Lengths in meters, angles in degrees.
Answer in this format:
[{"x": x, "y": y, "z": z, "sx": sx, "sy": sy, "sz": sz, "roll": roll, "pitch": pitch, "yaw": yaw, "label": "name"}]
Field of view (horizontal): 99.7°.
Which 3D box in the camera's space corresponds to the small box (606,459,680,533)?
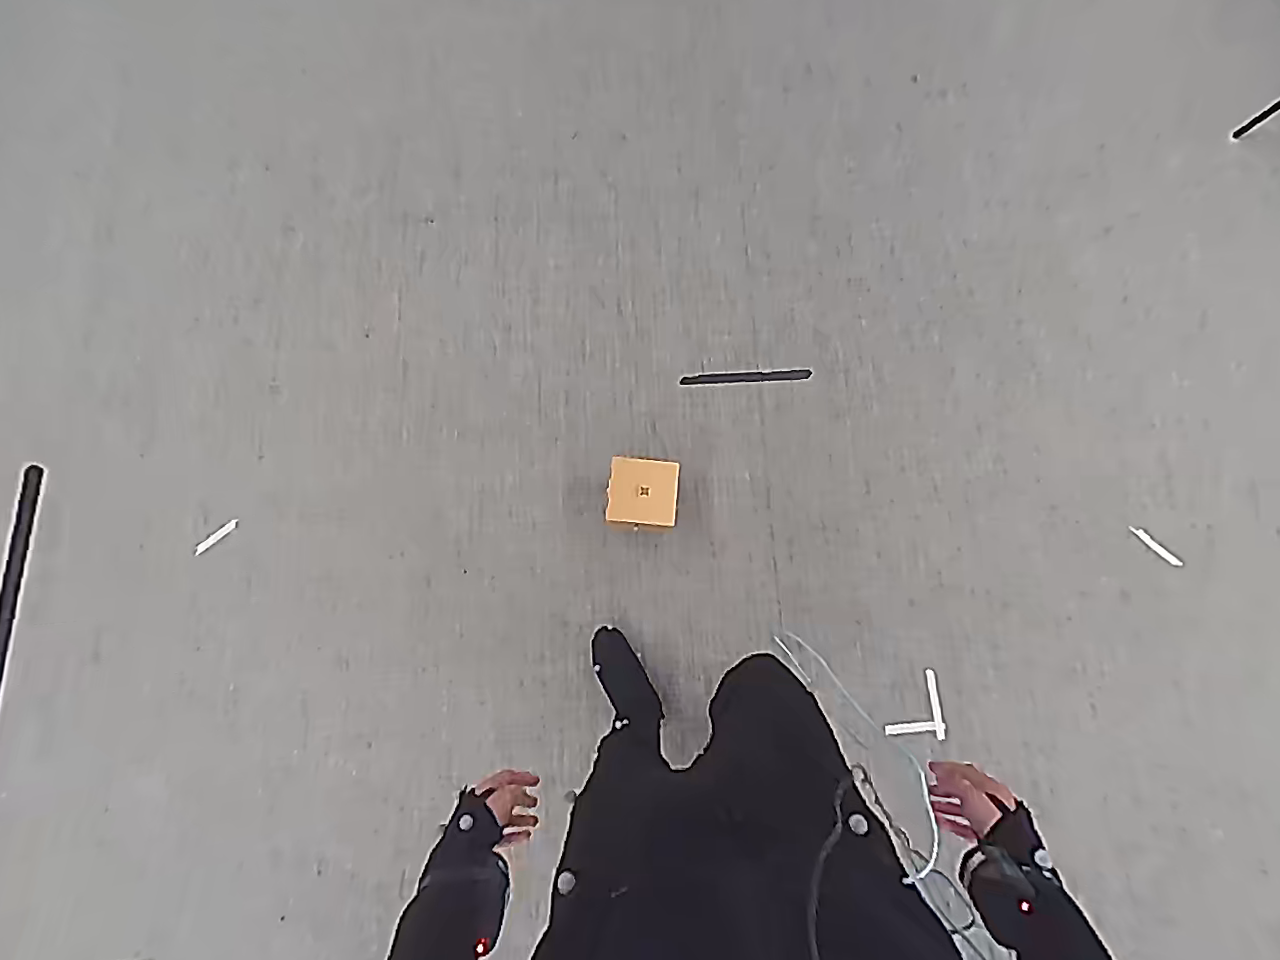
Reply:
[{"x": 0.009, "y": 0.049, "z": 1.444, "sx": 0.179, "sy": 0.176, "sz": 0.168, "roll": 5, "pitch": 79, "yaw": 1, "label": "small box"}]
